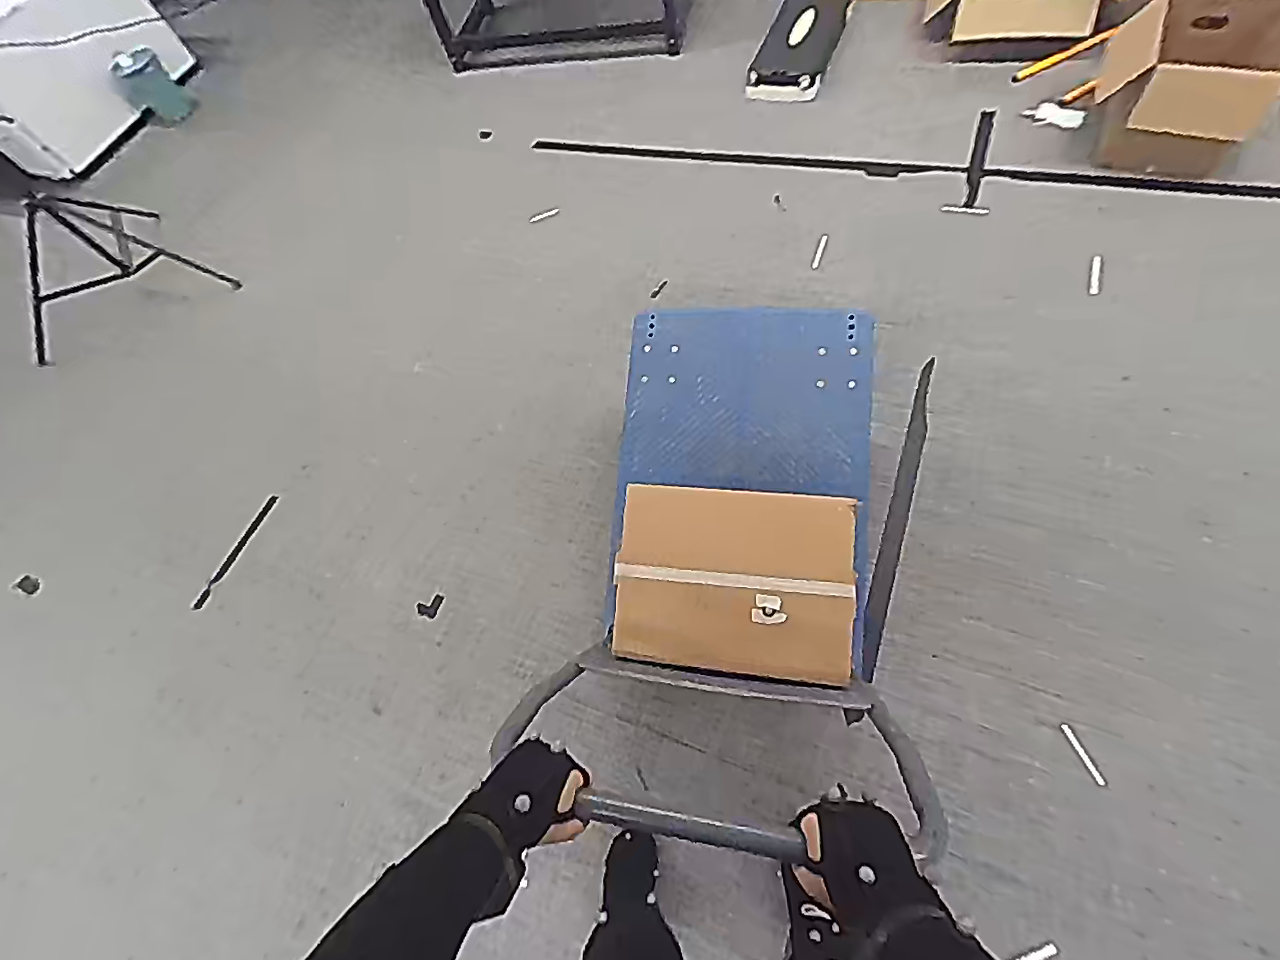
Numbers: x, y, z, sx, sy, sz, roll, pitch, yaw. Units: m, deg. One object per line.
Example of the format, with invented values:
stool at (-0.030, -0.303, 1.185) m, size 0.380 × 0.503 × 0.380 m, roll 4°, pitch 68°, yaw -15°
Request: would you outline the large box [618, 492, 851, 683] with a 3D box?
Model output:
large box at (0.188, 0.206, 1.102) m, size 0.408 × 0.320 × 0.320 m, roll 3°, pitch 82°, yaw 11°
